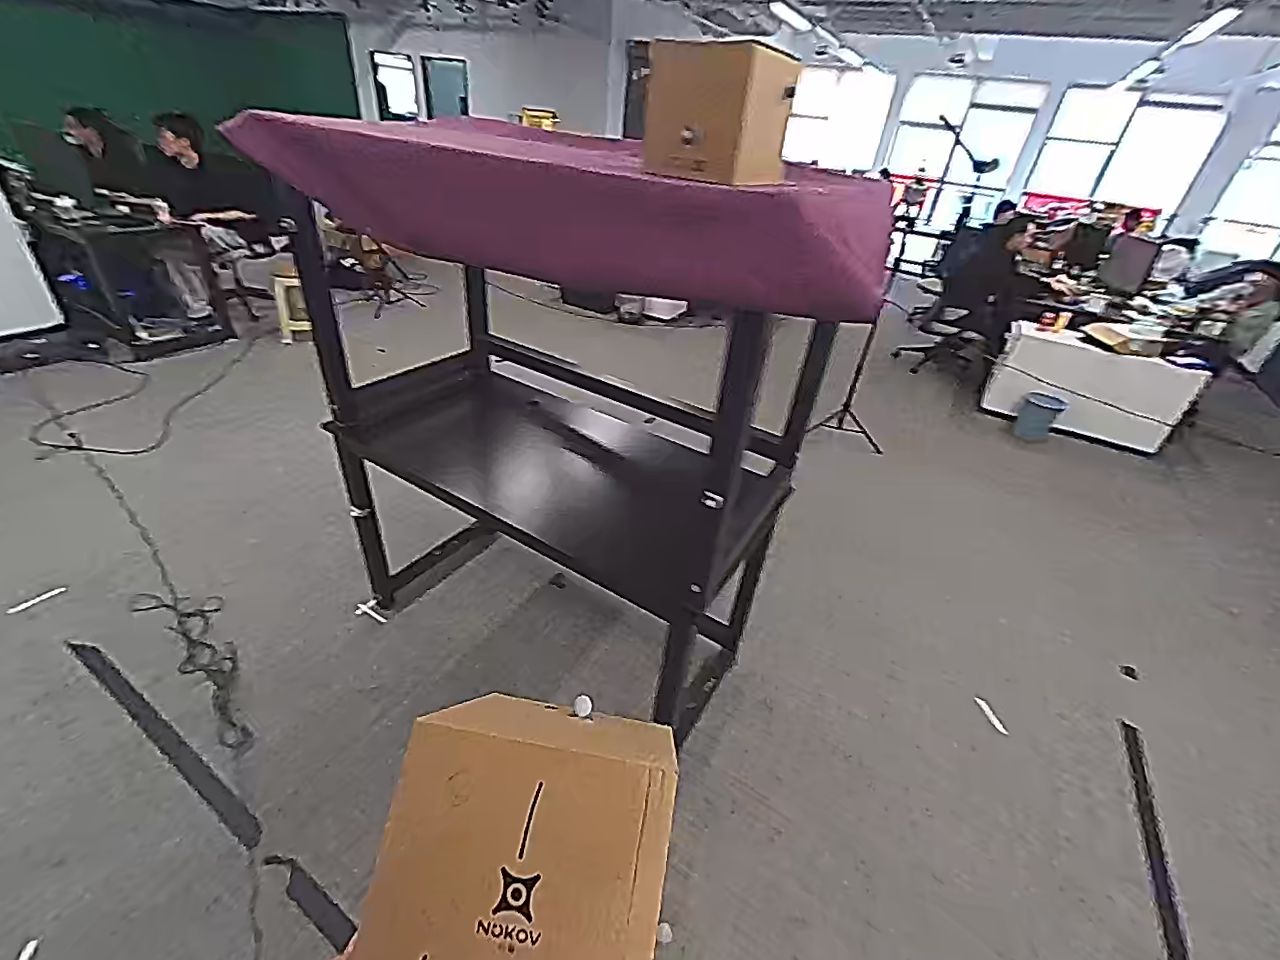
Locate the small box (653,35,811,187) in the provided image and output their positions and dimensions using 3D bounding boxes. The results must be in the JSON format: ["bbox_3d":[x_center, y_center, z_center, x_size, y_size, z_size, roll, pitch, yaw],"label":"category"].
[{"bbox_3d":[0.134,-0.555,0.826,0.168,0.176,0.179,25,37,27],"label":"small box"}]

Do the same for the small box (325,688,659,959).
[{"bbox_3d":[-0.080,0.254,0.374,0.168,0.176,0.179,9,73,4],"label":"small box"}]
